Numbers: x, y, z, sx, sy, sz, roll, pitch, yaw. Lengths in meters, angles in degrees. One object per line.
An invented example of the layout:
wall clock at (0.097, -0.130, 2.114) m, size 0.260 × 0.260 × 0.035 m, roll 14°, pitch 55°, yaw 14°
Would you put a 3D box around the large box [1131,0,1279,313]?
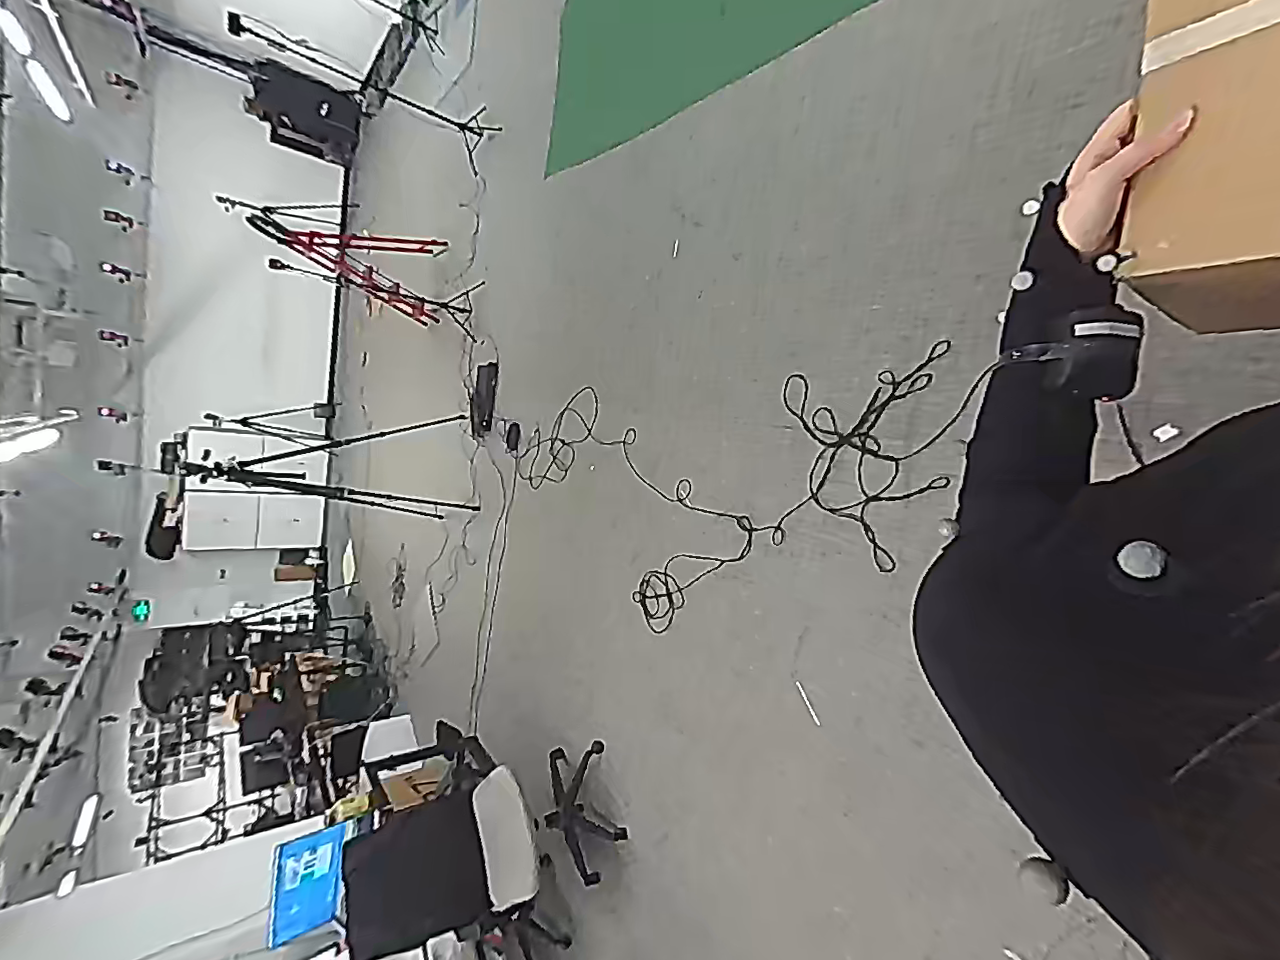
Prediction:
large box at (0.626, -0.304, 0.333) m, size 0.408 × 0.320 × 0.320 m, roll 11°, pitch 100°, yaw 55°
